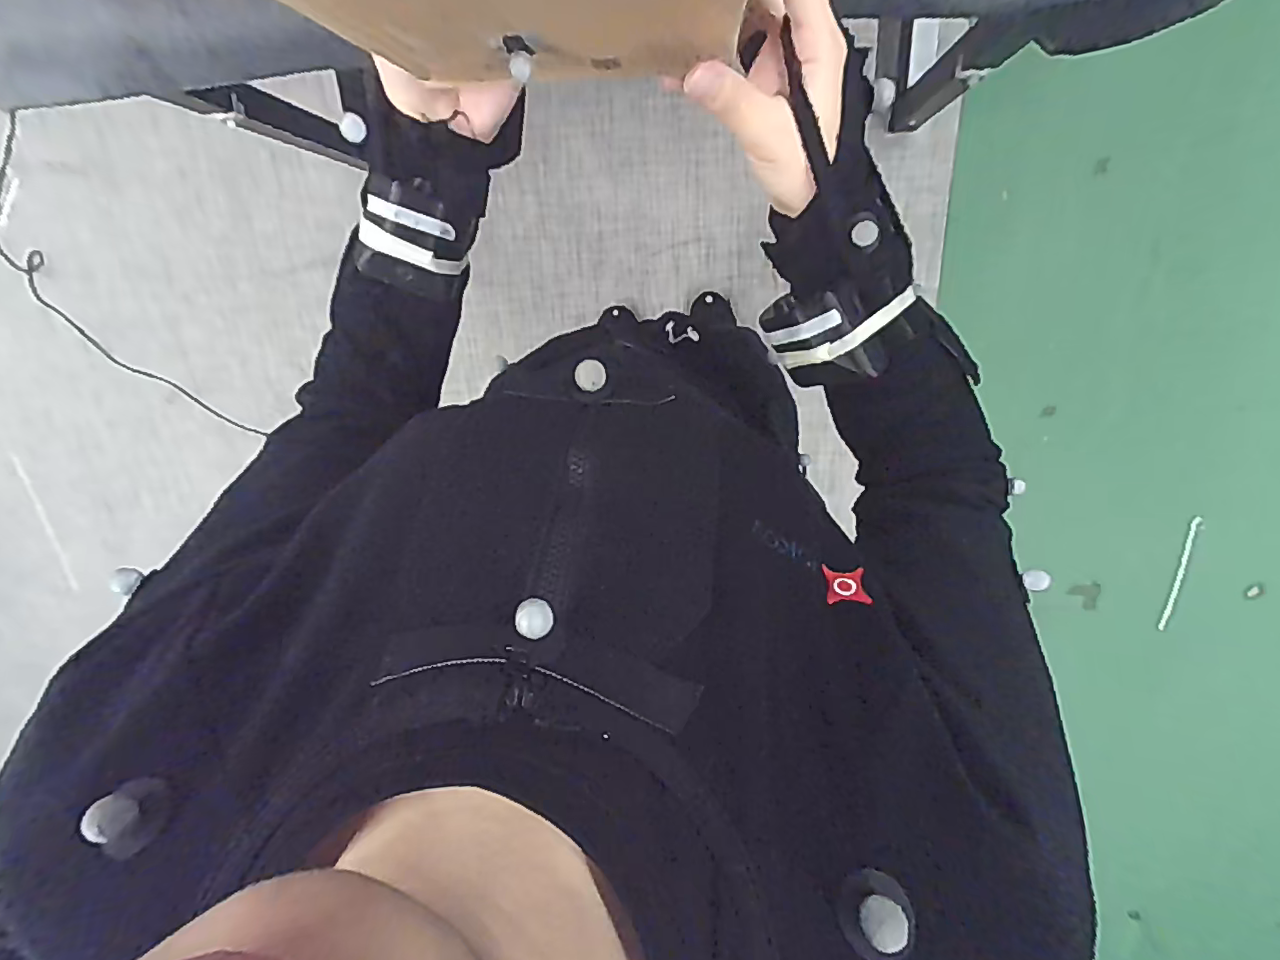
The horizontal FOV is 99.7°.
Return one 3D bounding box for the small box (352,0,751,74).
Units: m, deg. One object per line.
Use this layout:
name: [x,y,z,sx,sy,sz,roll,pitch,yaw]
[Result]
small box: [-0.039,-0.260,0.175,0.168,0.176,0.179,0,117,5]
